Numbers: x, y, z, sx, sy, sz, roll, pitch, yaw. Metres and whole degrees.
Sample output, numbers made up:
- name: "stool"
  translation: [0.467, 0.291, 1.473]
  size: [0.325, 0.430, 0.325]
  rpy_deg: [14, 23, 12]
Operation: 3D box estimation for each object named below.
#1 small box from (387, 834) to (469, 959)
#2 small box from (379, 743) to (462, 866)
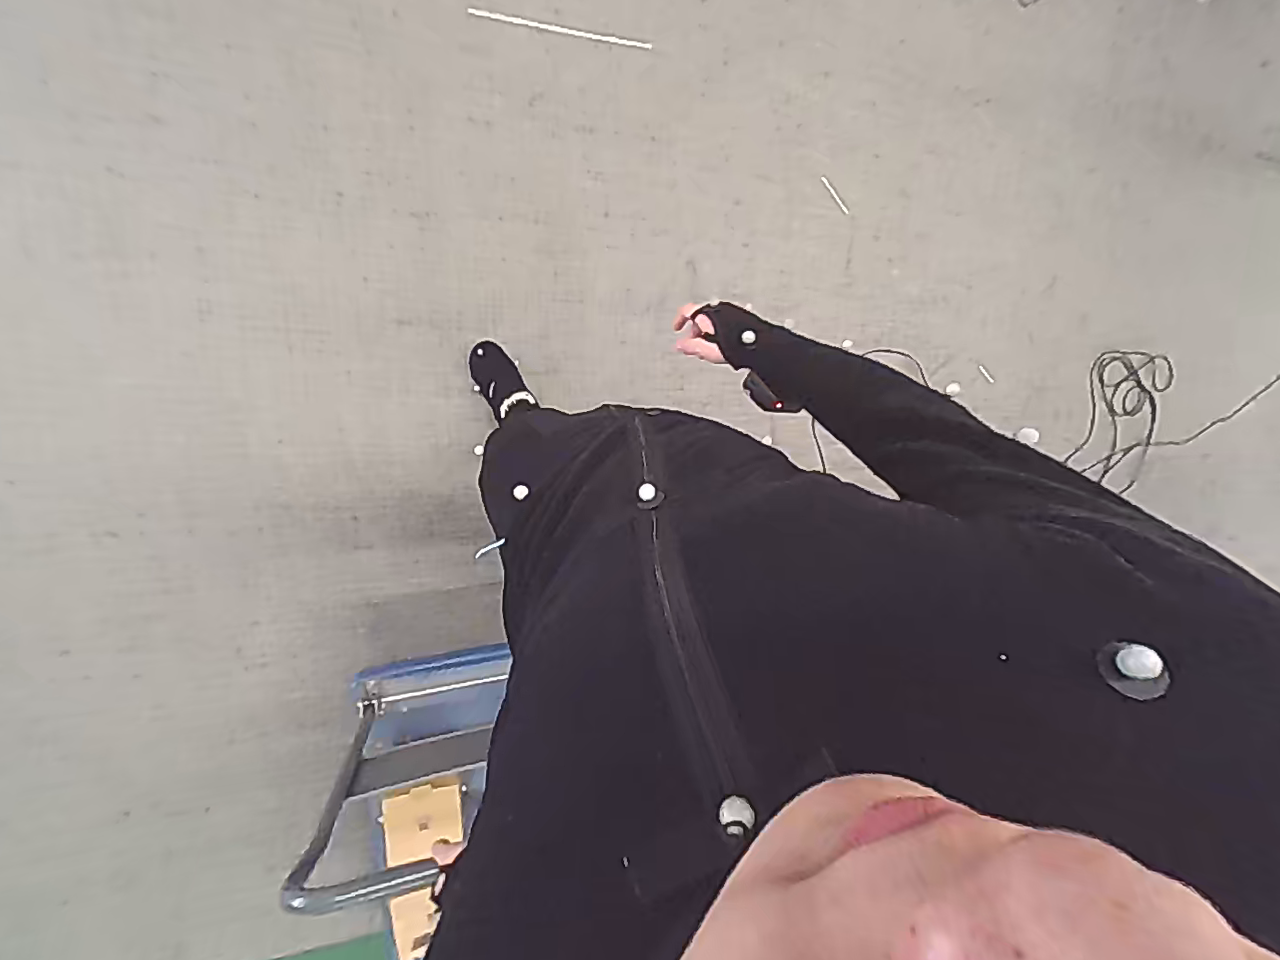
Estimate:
- name: "small box"
  translation: [-0.518, 1.021, 1.339]
  size: [0.168, 0.176, 0.179]
  rpy_deg: [-7, 98, -17]
- name: "small box"
  translation: [-0.523, 0.774, 1.307]
  size: [0.168, 0.176, 0.179]
  rpy_deg: [-3, 97, -17]
